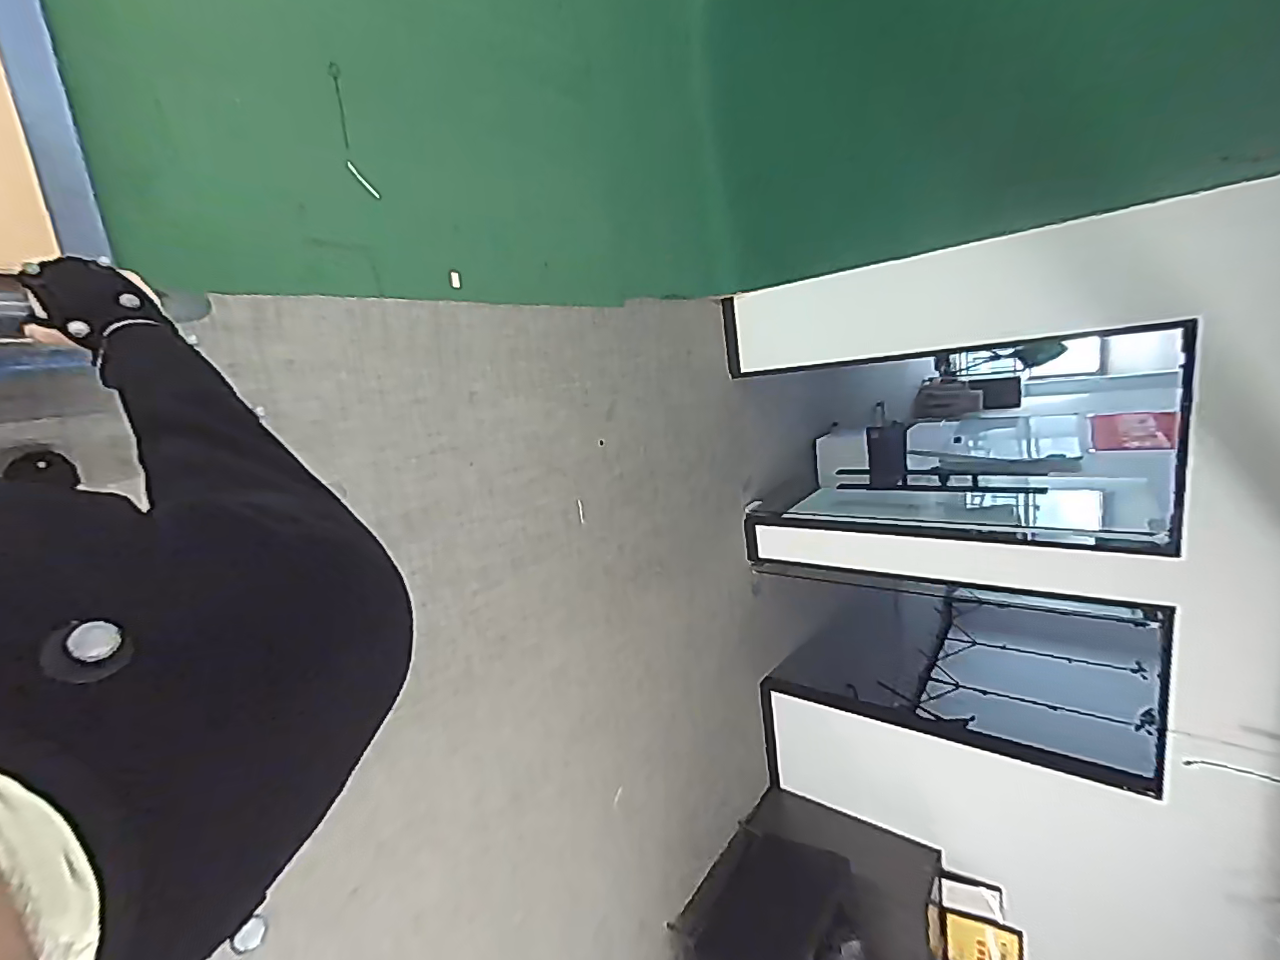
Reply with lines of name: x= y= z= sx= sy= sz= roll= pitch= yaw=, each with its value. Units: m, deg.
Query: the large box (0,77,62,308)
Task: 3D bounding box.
large box: x=-1.113 y=-0.473 z=0.764 sx=0.320 sy=0.320 sz=0.408 roll=-21 pitch=106 yaw=-50
